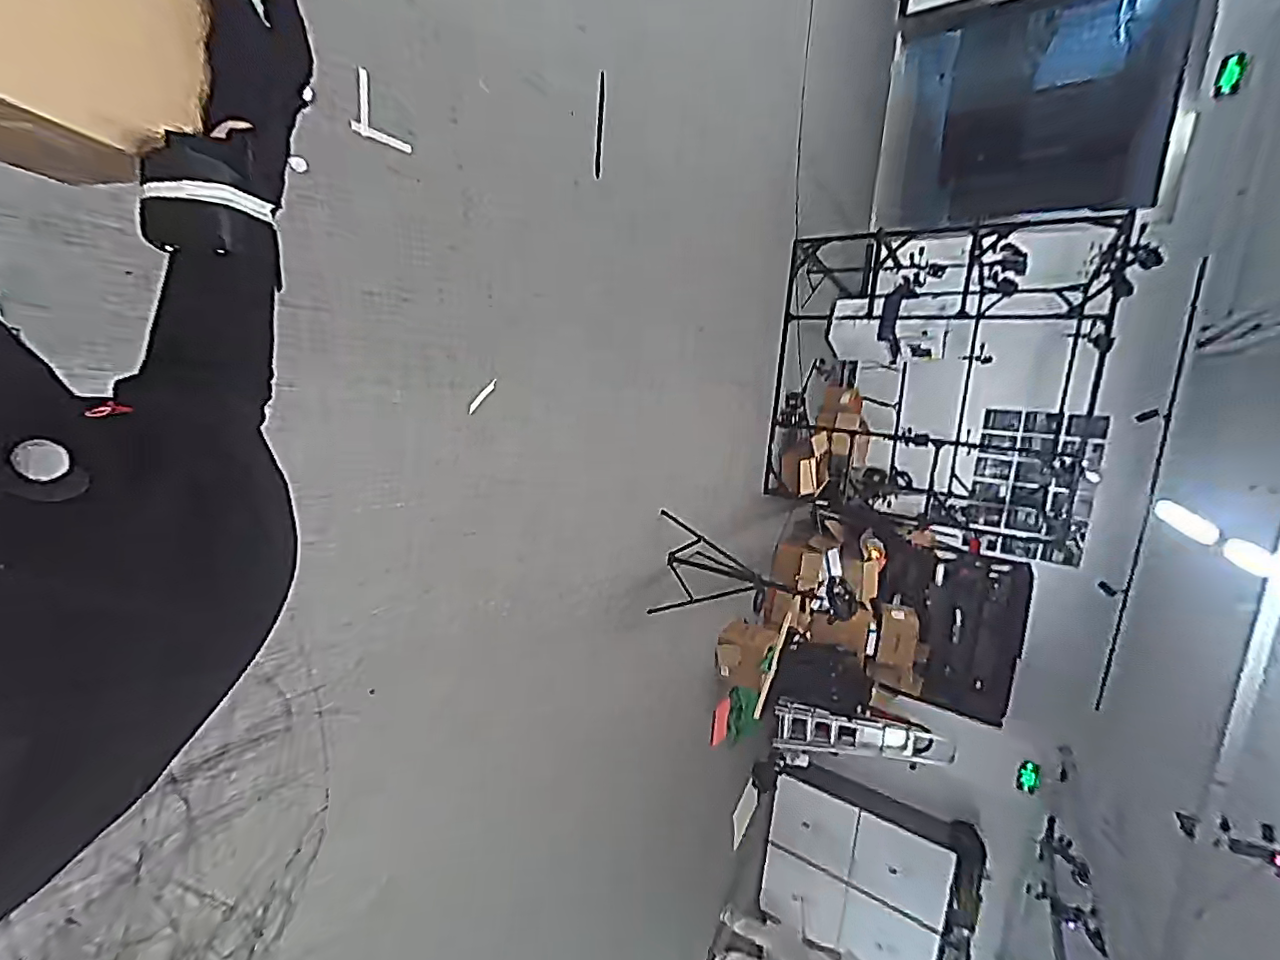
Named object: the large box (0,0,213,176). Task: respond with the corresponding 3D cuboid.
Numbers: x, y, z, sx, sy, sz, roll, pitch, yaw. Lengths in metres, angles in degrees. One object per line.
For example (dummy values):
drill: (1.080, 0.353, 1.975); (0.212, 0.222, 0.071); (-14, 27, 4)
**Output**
large box: (-0.535, -0.422, 0.299); (0.408, 0.320, 0.320); (3, 103, -60)
